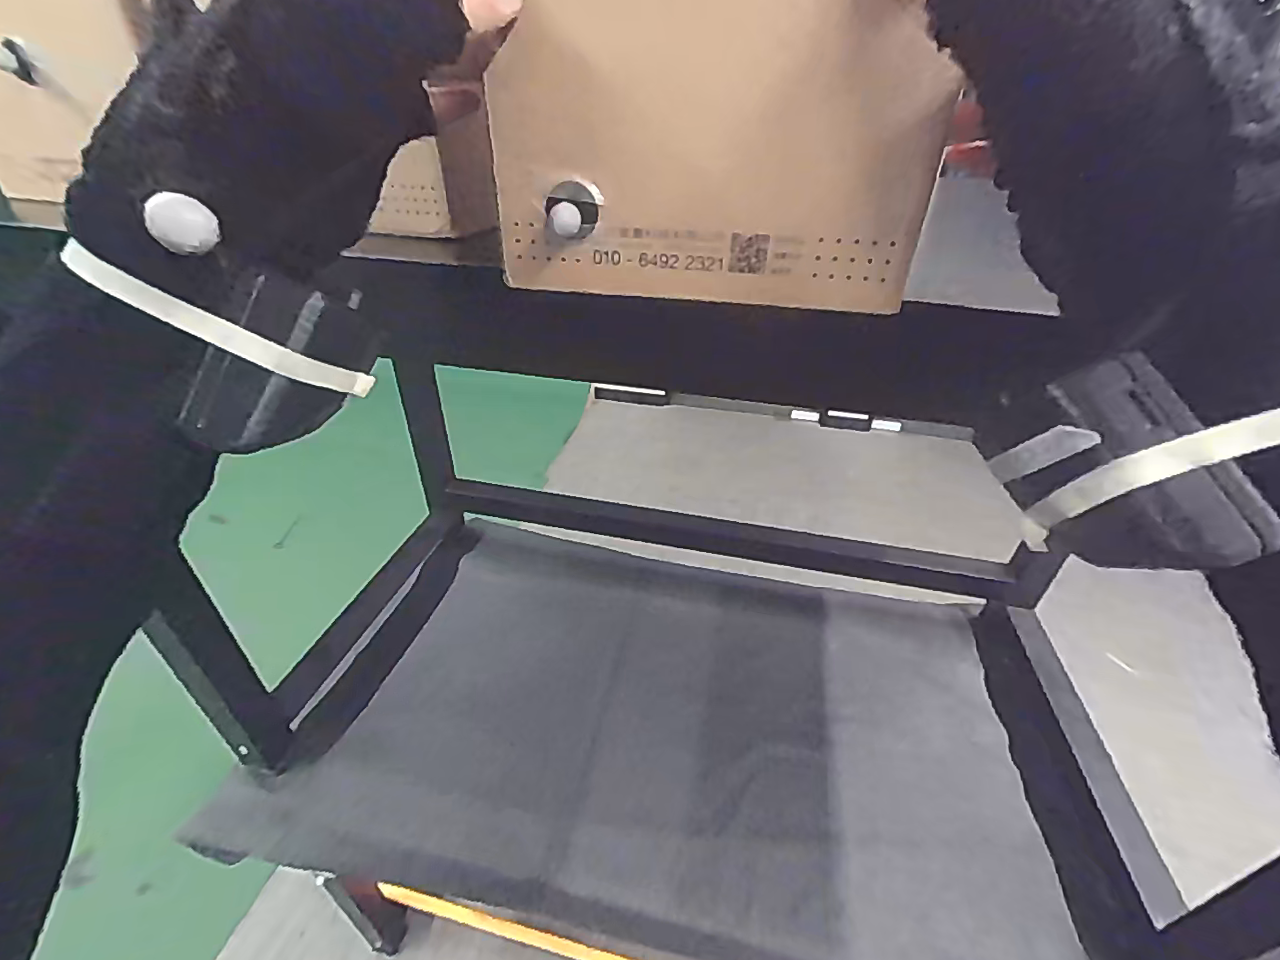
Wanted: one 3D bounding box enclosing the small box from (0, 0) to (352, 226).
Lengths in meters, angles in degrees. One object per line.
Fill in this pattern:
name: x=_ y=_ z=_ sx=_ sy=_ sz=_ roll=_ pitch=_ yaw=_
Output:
small box: x=-0.351 y=-0.295 z=0.403 sx=0.168 sy=0.176 sz=0.179 roll=9 pitch=34 yaw=9
